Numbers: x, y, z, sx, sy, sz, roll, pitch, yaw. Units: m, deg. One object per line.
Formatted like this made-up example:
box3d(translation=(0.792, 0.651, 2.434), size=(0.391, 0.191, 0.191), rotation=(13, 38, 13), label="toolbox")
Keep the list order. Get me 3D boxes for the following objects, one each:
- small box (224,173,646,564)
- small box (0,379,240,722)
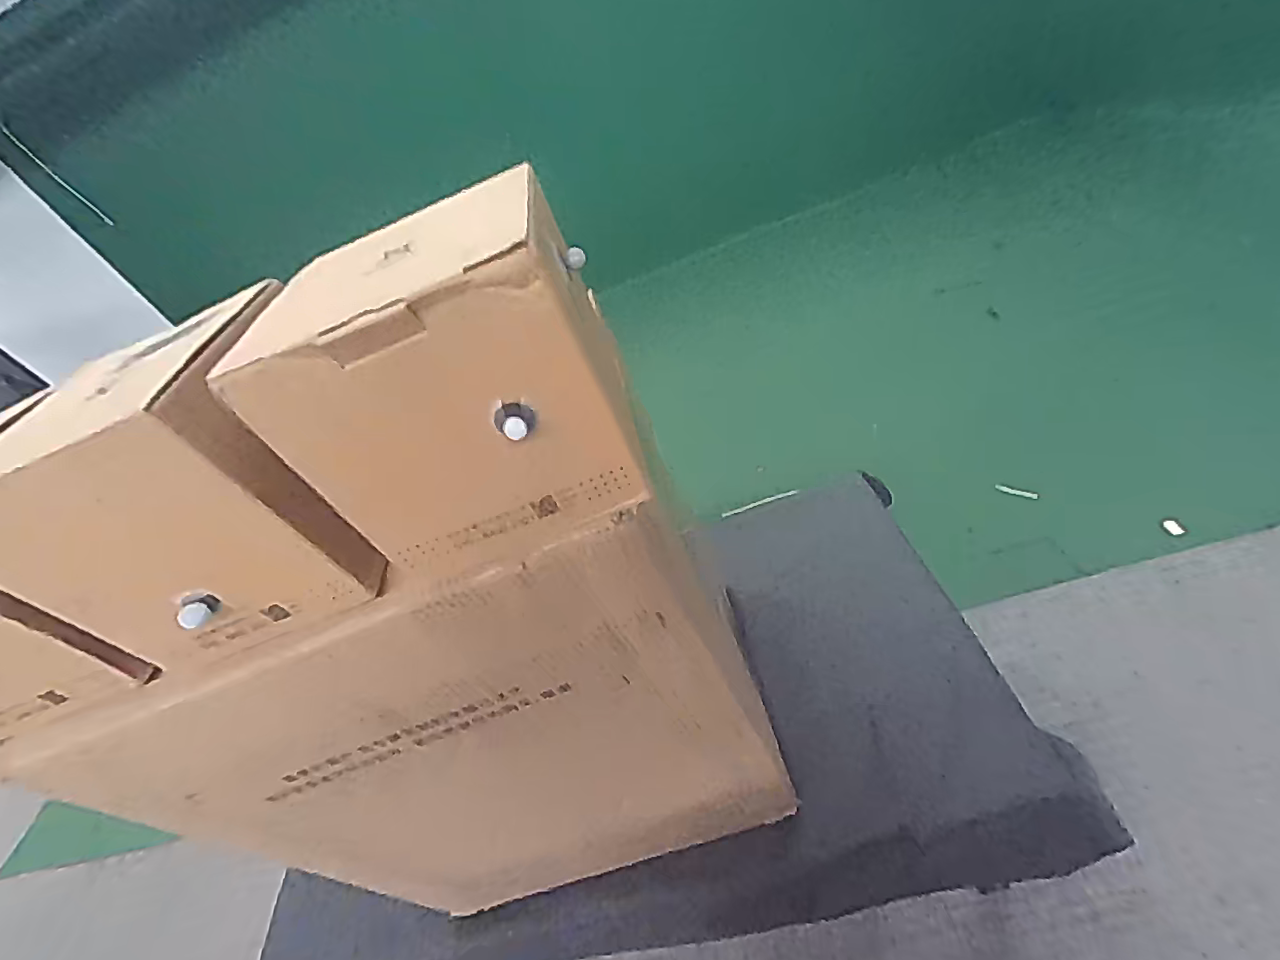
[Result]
box3d(translation=(-0.105, -0.067, 0.356), size=(0.168, 0.176, 0.179), rotation=(-20, 40, 5), label="small box")
box3d(translation=(-0.462, 0.061, 0.411), size=(0.168, 0.176, 0.179), rotation=(-21, 41, 8), label="small box")
